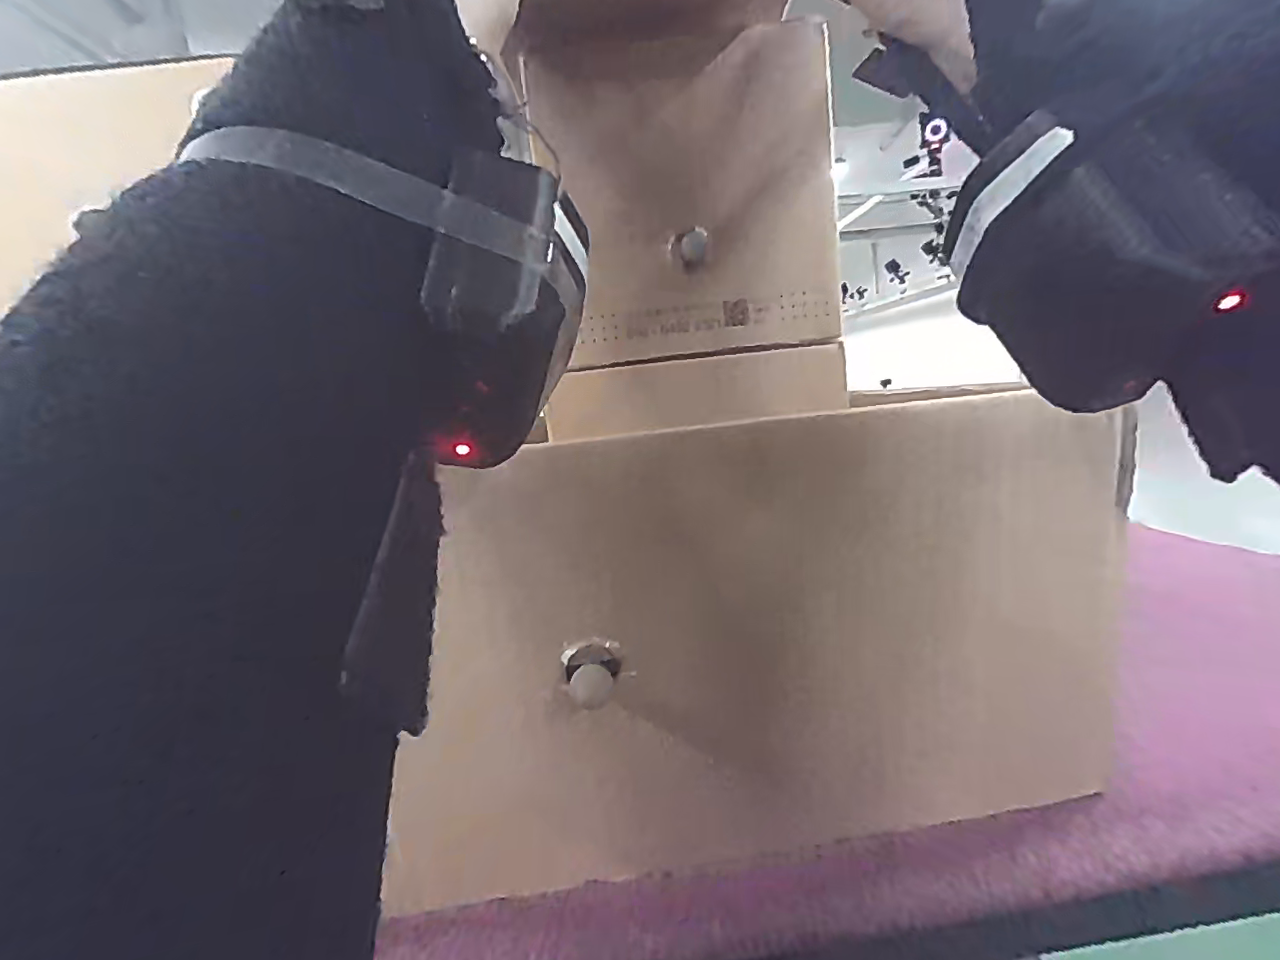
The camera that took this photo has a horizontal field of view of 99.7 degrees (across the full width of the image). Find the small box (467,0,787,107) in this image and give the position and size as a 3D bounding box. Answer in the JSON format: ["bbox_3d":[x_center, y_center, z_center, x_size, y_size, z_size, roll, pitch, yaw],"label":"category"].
[{"bbox_3d":[-0.012,-0.324,0.276,0.168,0.176,0.179,-7,14,3],"label":"small box"}]
